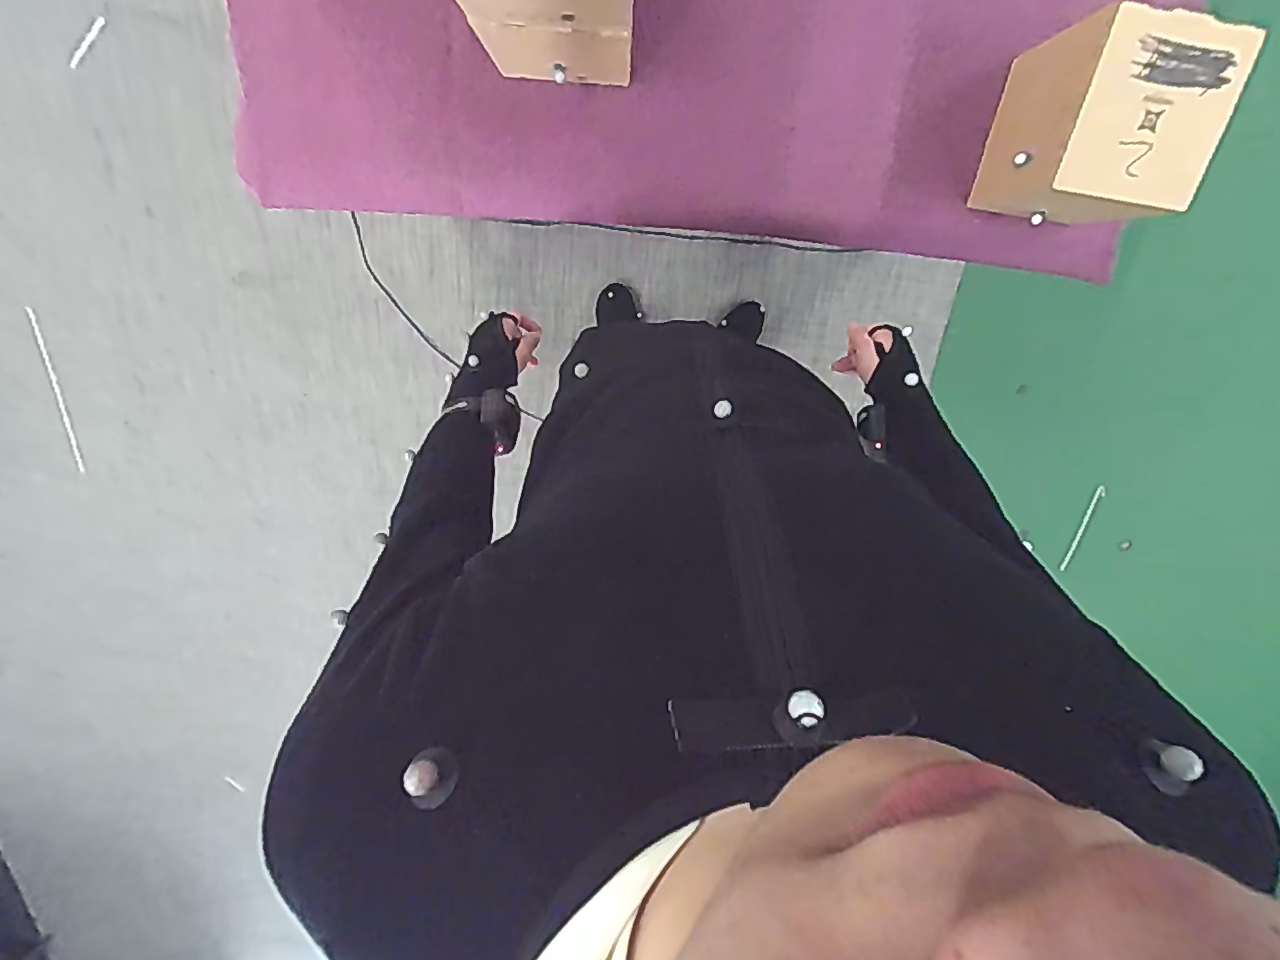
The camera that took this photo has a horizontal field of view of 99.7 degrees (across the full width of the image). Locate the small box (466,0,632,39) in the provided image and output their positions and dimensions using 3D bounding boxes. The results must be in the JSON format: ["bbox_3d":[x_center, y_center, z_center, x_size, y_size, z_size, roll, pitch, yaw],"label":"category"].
[{"bbox_3d":[-0.085,-0.505,0.439,0.168,0.176,0.179,3,110,-2],"label":"small box"}]

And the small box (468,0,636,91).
[{"bbox_3d":[-0.088,-0.563,0.594,0.168,0.176,0.179,3,111,-2],"label":"small box"}]
